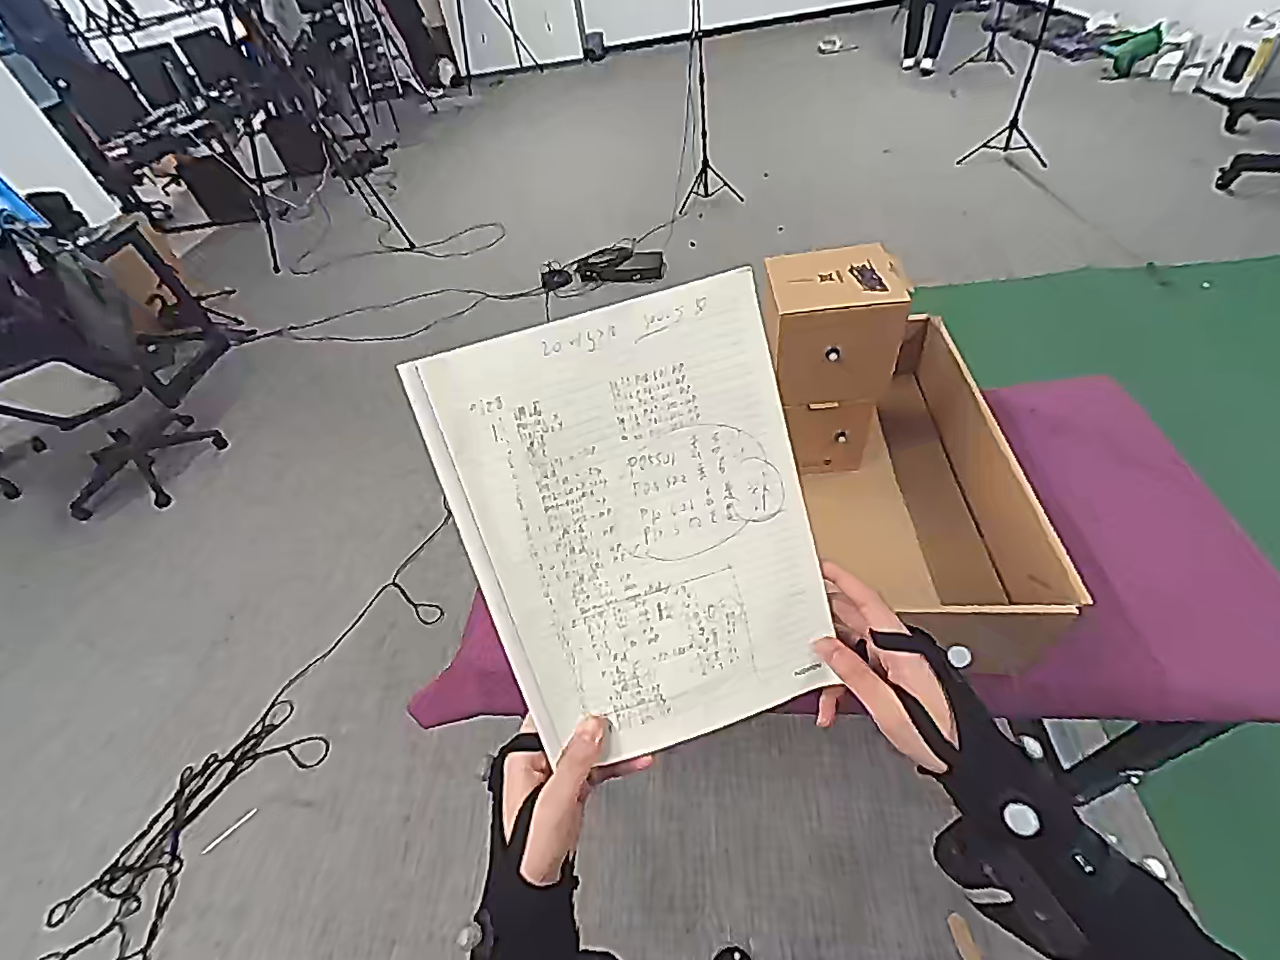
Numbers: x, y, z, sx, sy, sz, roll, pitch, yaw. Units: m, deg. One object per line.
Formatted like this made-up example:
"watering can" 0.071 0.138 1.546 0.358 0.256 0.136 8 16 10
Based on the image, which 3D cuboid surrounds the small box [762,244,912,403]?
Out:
"small box" 0.288 -0.237 0.837 0.179 0.176 0.168 -4 48 7
